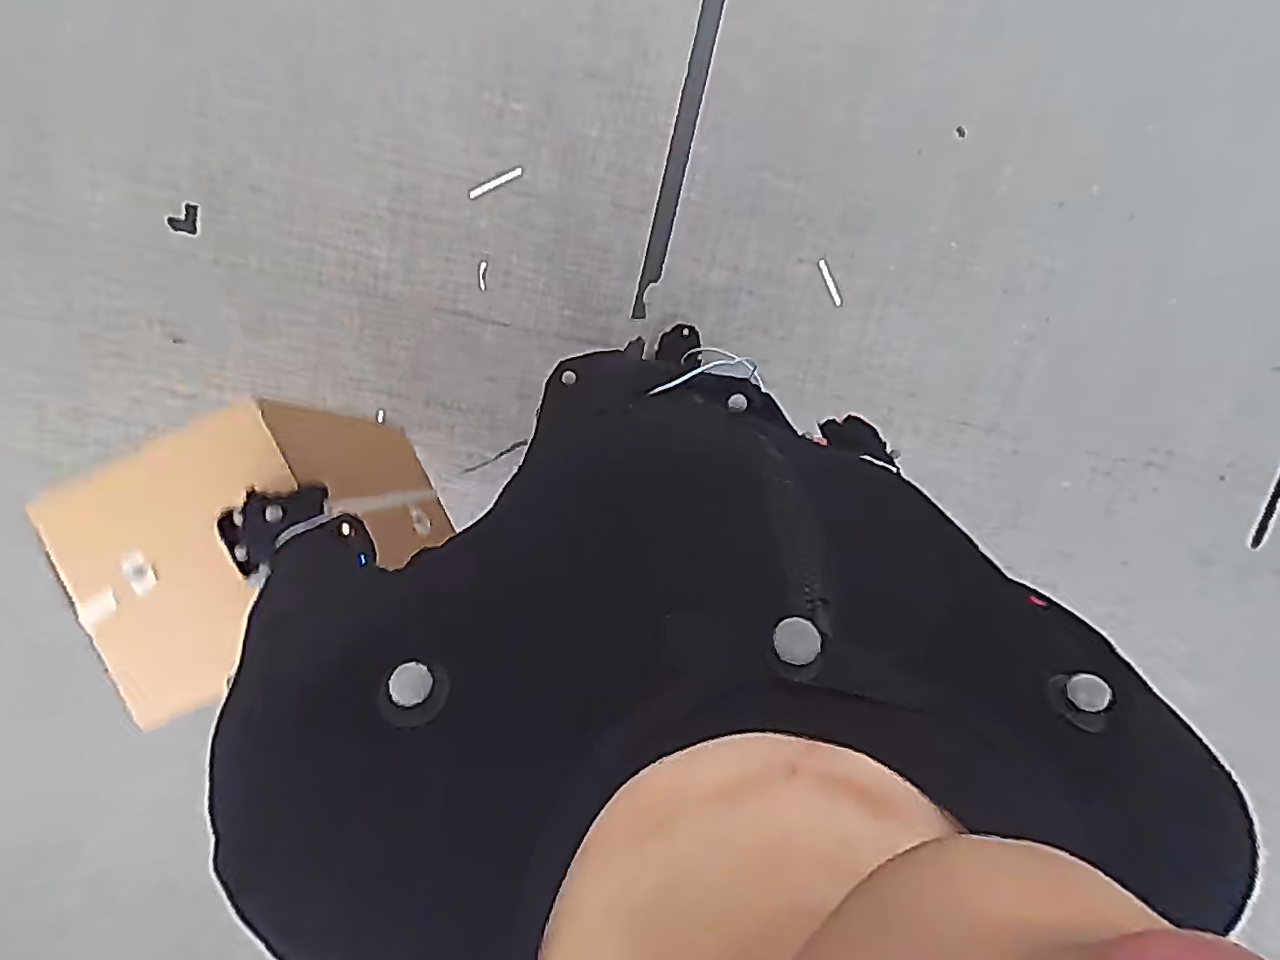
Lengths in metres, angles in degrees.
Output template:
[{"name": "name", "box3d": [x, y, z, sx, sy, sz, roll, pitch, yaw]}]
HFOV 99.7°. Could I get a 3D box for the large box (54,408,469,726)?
[{"name": "large box", "box3d": [-0.539, 0.109, 0.871, 0.320, 0.408, 0.320, -27, 91, 0]}]
